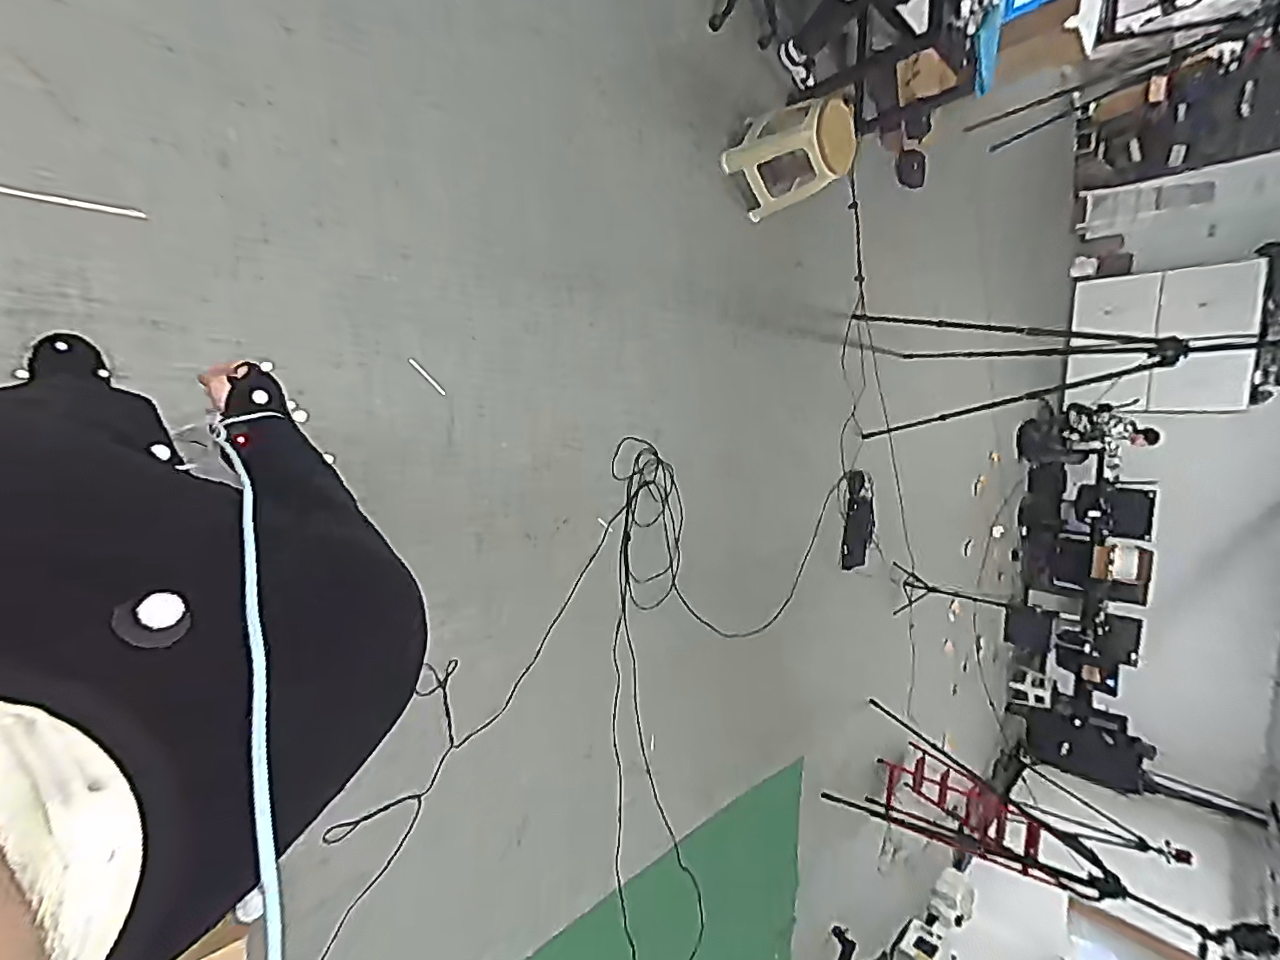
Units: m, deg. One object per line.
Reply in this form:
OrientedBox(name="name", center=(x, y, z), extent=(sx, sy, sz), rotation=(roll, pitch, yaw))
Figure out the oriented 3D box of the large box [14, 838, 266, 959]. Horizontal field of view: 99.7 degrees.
OrientedBox(name="large box", center=(-1.095, 1.122, 1.211), extent=(0.408, 0.320, 0.320), rotation=(-7, 100, -41))
